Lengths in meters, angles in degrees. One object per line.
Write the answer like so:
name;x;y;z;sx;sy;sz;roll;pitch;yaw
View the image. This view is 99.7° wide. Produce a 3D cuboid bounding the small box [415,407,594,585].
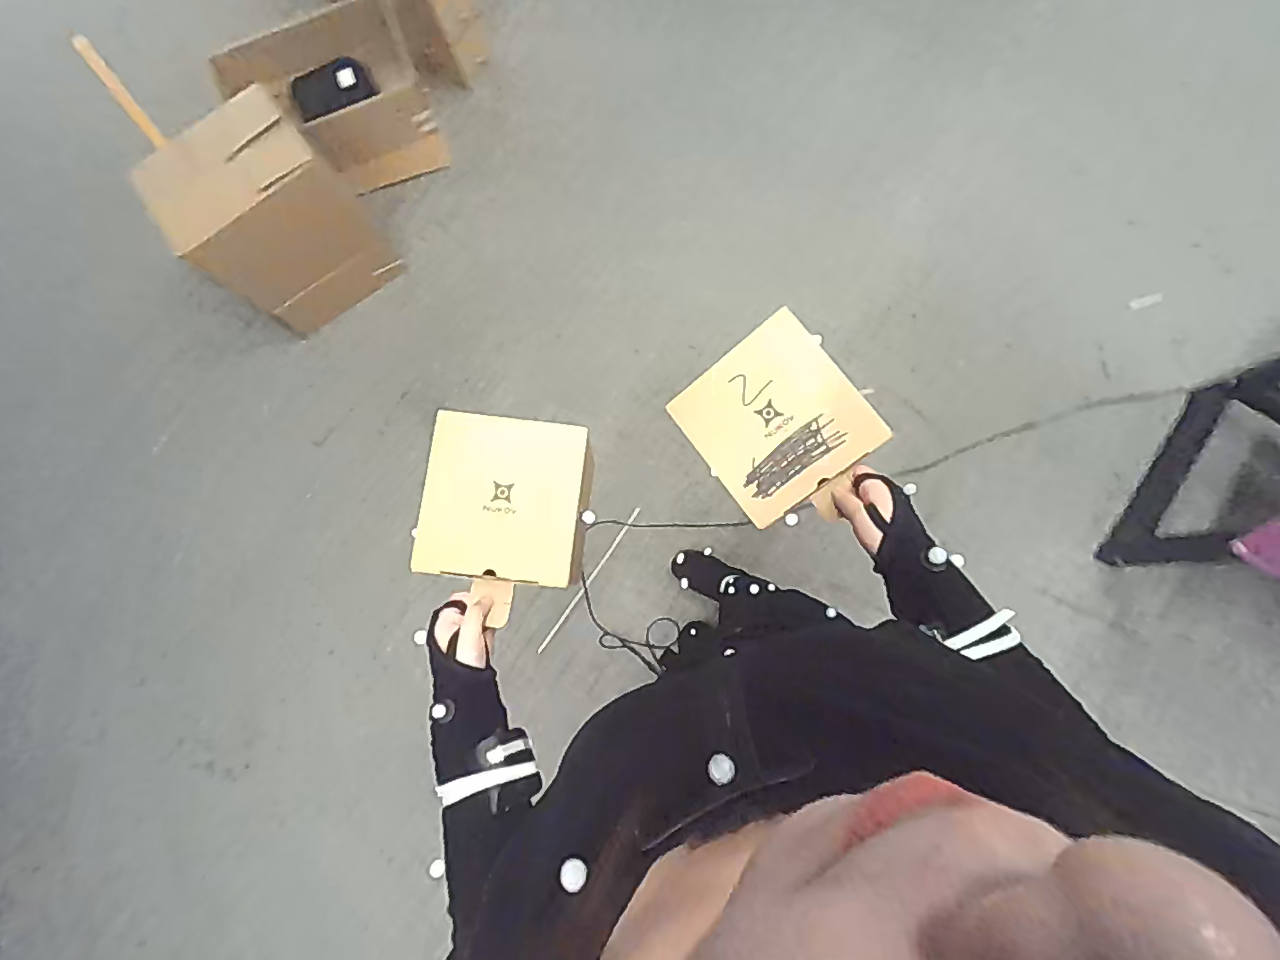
small box;-0.149;0.028;0.659;0.168;0.176;0.179;8;81;-2
